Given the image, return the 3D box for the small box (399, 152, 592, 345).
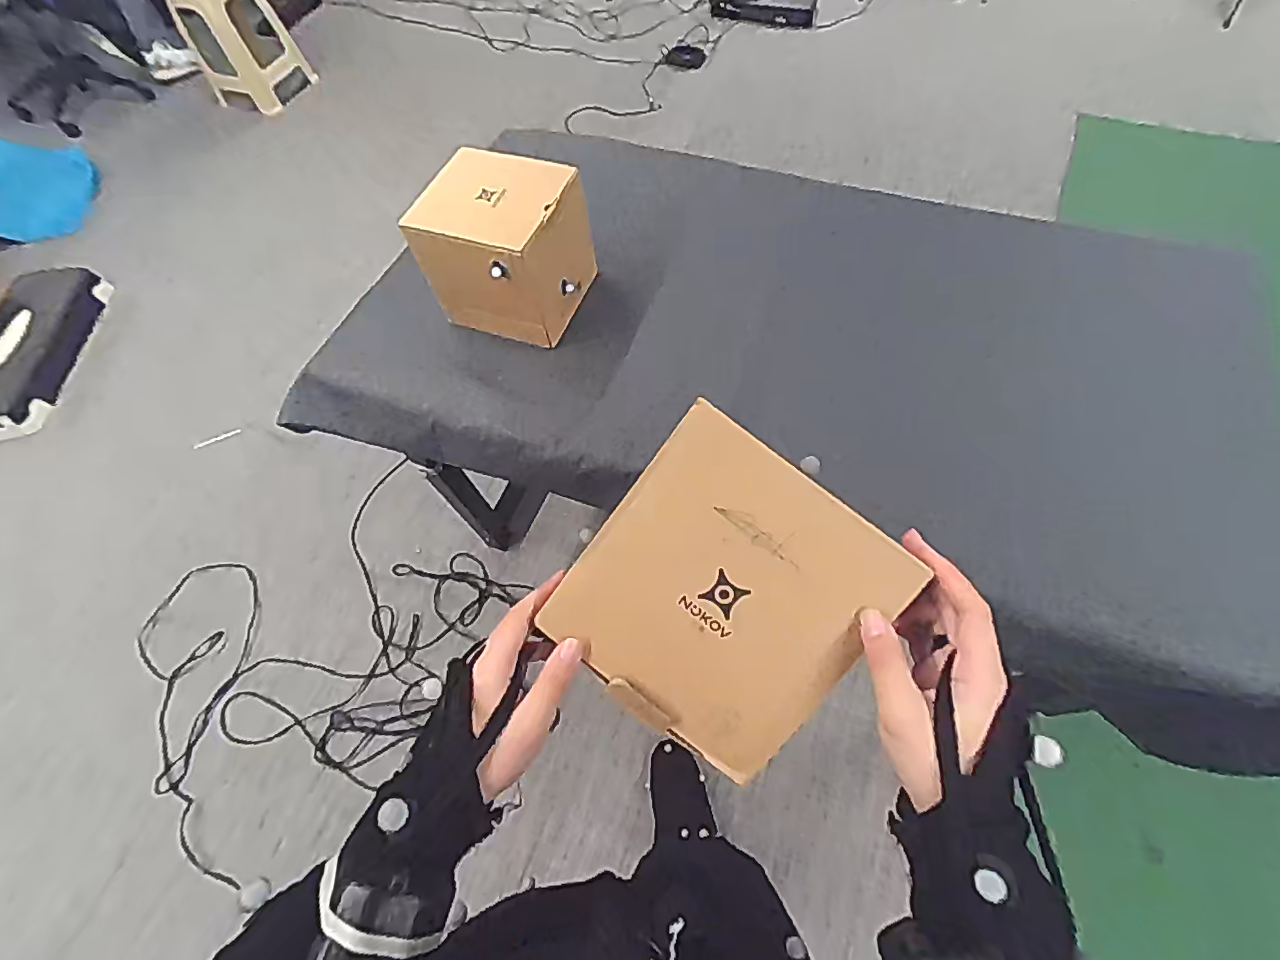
[{"bbox_3d":[-0.183,-0.311,0.743,0.179,0.176,0.168,17,64,12],"label":"small box"}]
